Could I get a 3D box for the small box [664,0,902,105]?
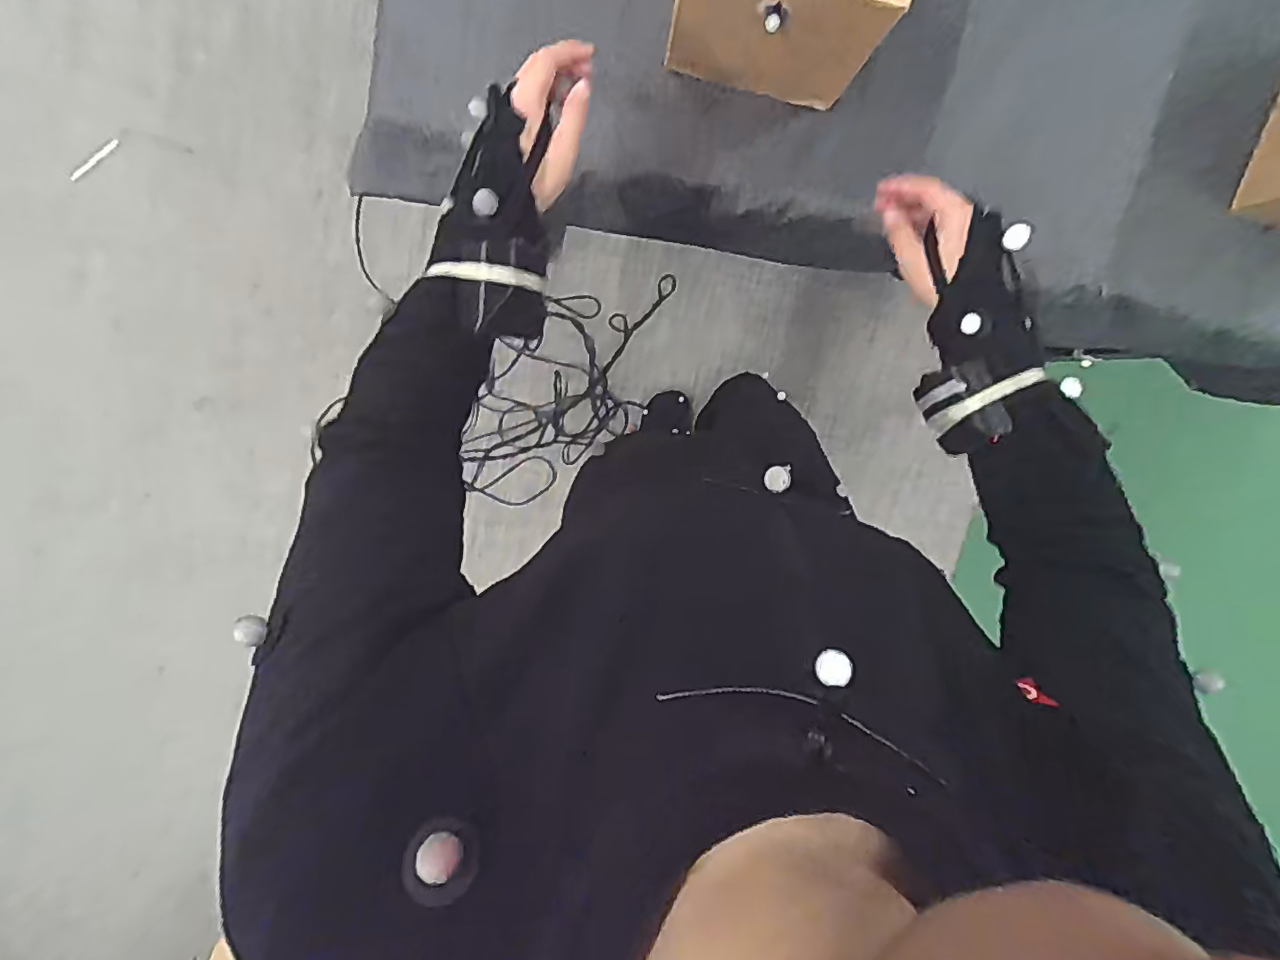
[{"bbox_3d":[0.124,-0.458,0.457,0.179,0.176,0.168,12,101,-5],"label":"small box"}]
